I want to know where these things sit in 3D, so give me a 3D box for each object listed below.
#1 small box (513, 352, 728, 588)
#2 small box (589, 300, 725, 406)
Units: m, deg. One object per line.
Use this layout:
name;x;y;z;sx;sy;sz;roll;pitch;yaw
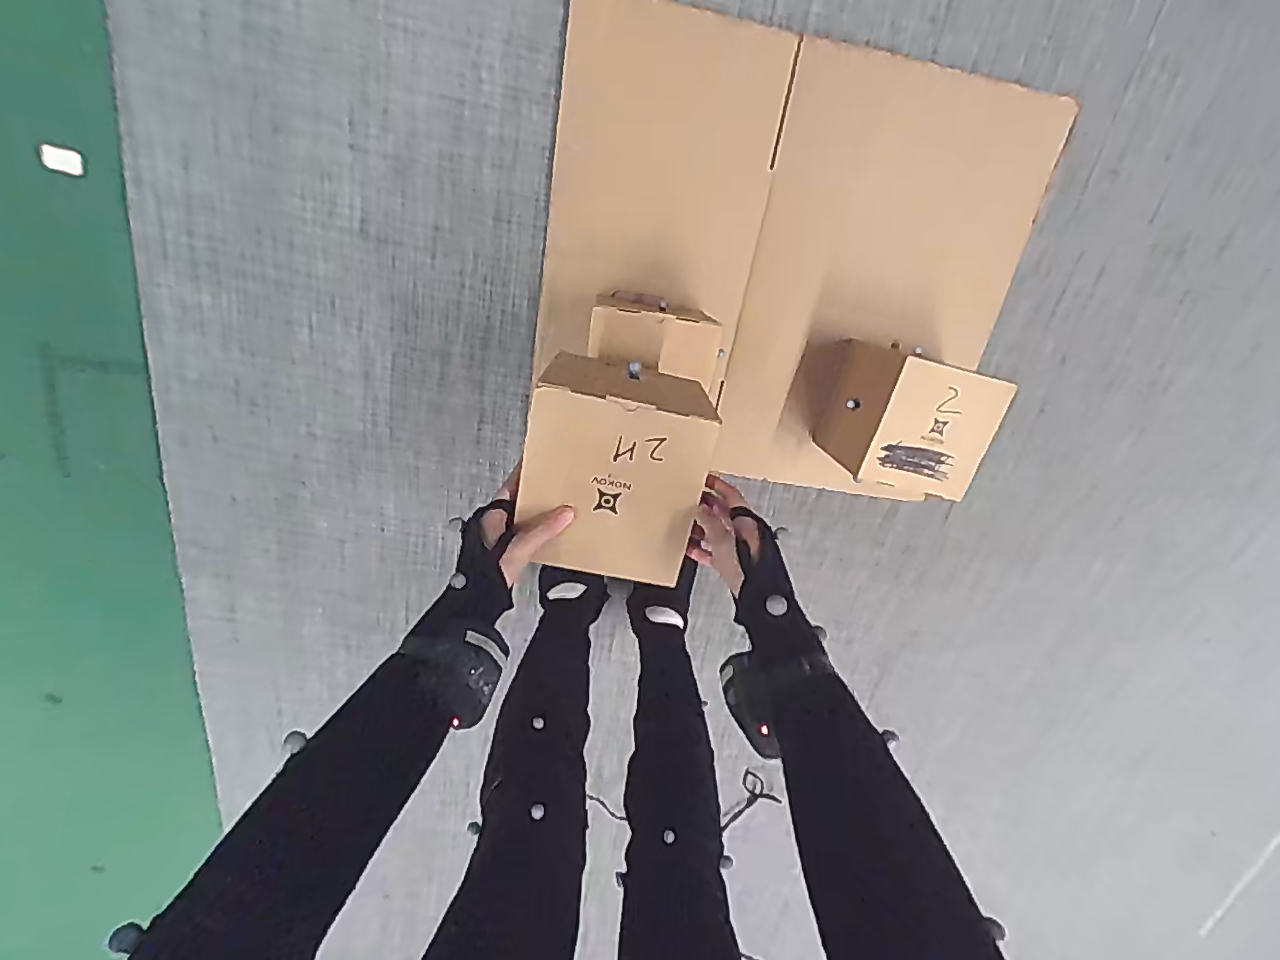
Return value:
small box;-0.023;-0.019;0.561;0.168;0.176;0.179;12;111;-7
small box;0.010;-0.149;0.763;0.168;0.176;0.179;7;110;-5
